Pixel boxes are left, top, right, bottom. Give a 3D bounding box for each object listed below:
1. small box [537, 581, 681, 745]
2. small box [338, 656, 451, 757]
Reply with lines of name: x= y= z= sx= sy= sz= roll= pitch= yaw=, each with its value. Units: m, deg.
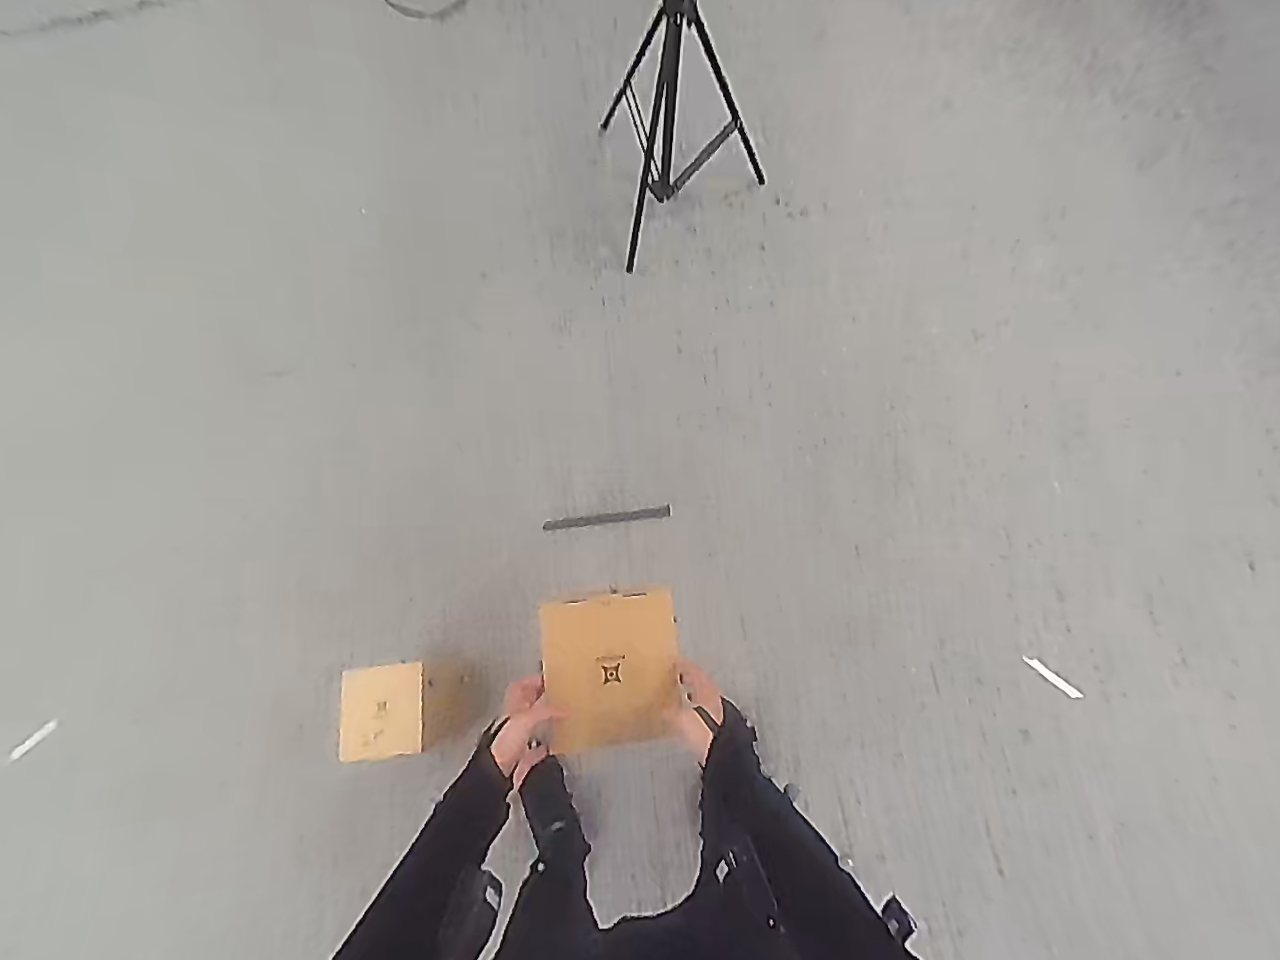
small box: x=-0.041 y=0.232 z=0.727 sx=0.168 sy=0.176 sz=0.179 roll=-5 pitch=80 yaw=-4
small box: x=-0.515 y=0.476 z=1.157 sx=0.168 sy=0.176 sz=0.179 roll=-6 pitch=74 yaw=-1
